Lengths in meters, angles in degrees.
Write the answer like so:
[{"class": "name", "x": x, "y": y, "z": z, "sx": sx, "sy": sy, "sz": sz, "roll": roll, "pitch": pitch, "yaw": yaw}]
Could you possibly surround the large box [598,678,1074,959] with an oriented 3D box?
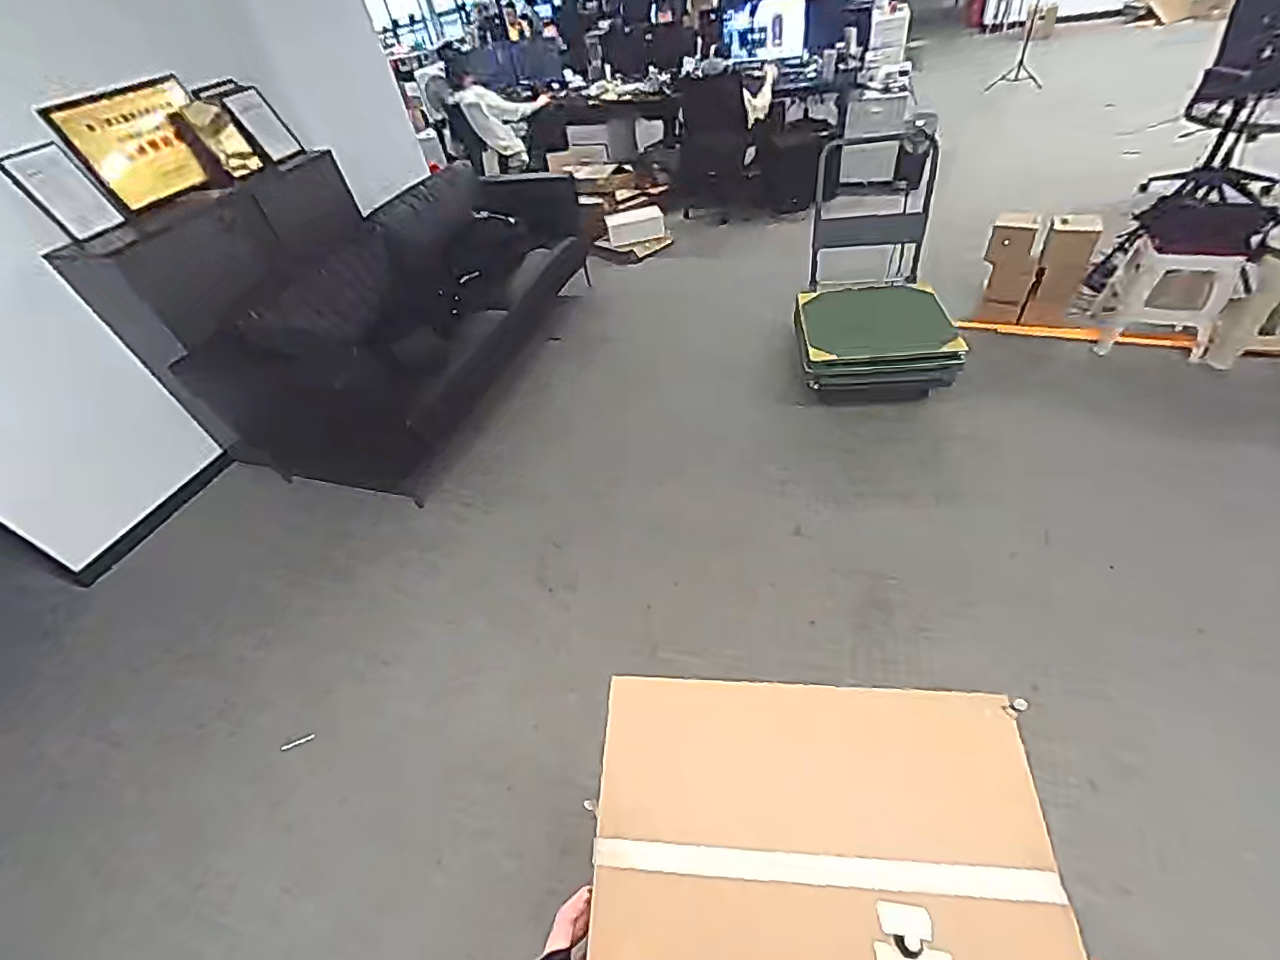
[{"class": "large box", "x": 0.173, "y": 0.425, "z": 0.620, "sx": 0.408, "sy": 0.320, "sz": 0.320, "roll": 0, "pitch": 58, "yaw": 5}]
